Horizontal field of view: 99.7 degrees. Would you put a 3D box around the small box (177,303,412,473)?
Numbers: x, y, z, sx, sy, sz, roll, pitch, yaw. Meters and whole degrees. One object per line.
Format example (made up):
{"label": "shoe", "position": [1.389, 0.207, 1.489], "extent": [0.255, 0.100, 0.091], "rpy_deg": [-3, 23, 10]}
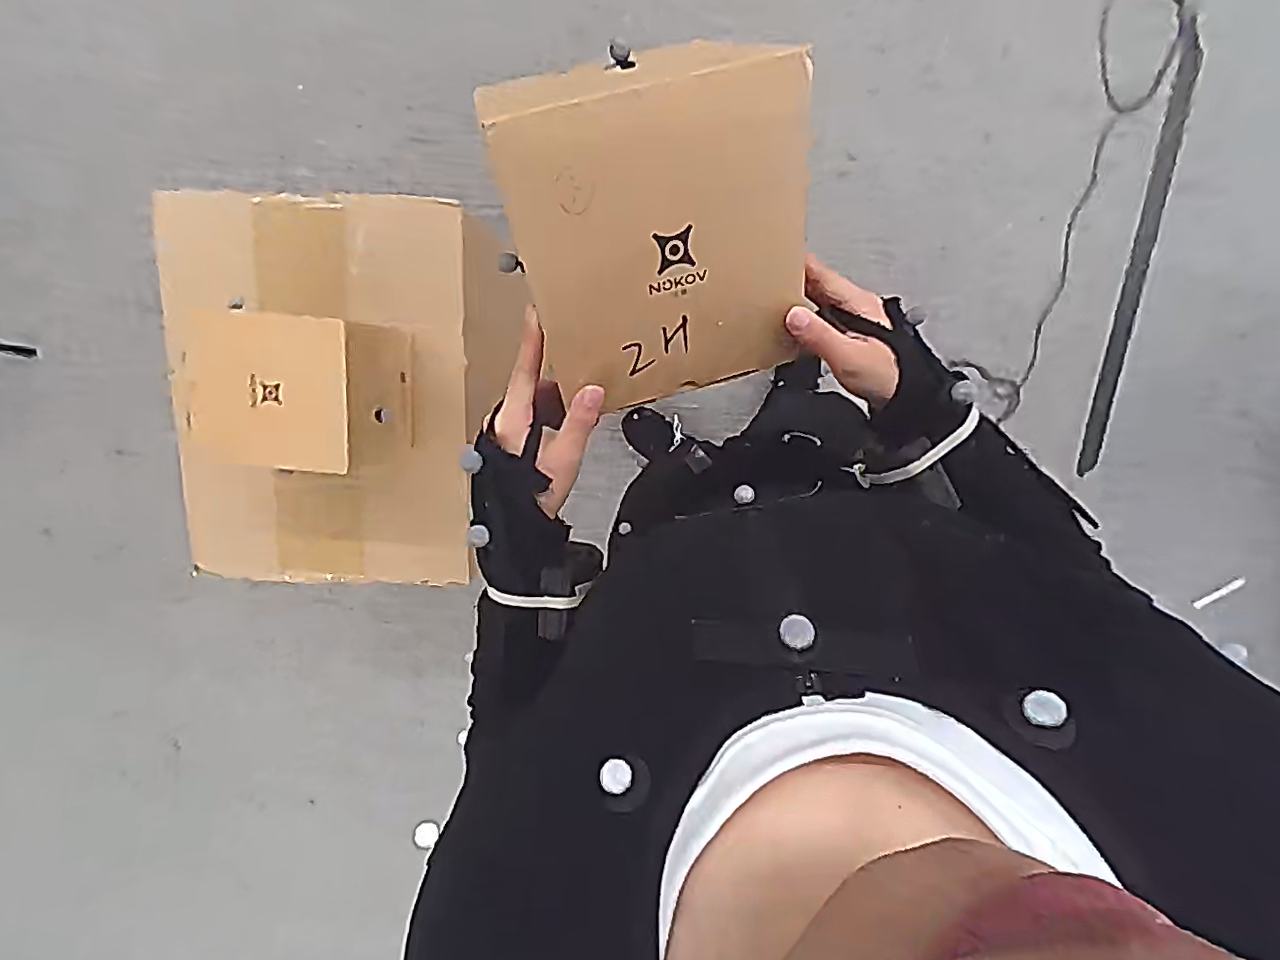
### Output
{"label": "small box", "position": [-0.386, -0.109, 0.639], "extent": [0.179, 0.176, 0.168], "rpy_deg": [4, 101, 1]}
